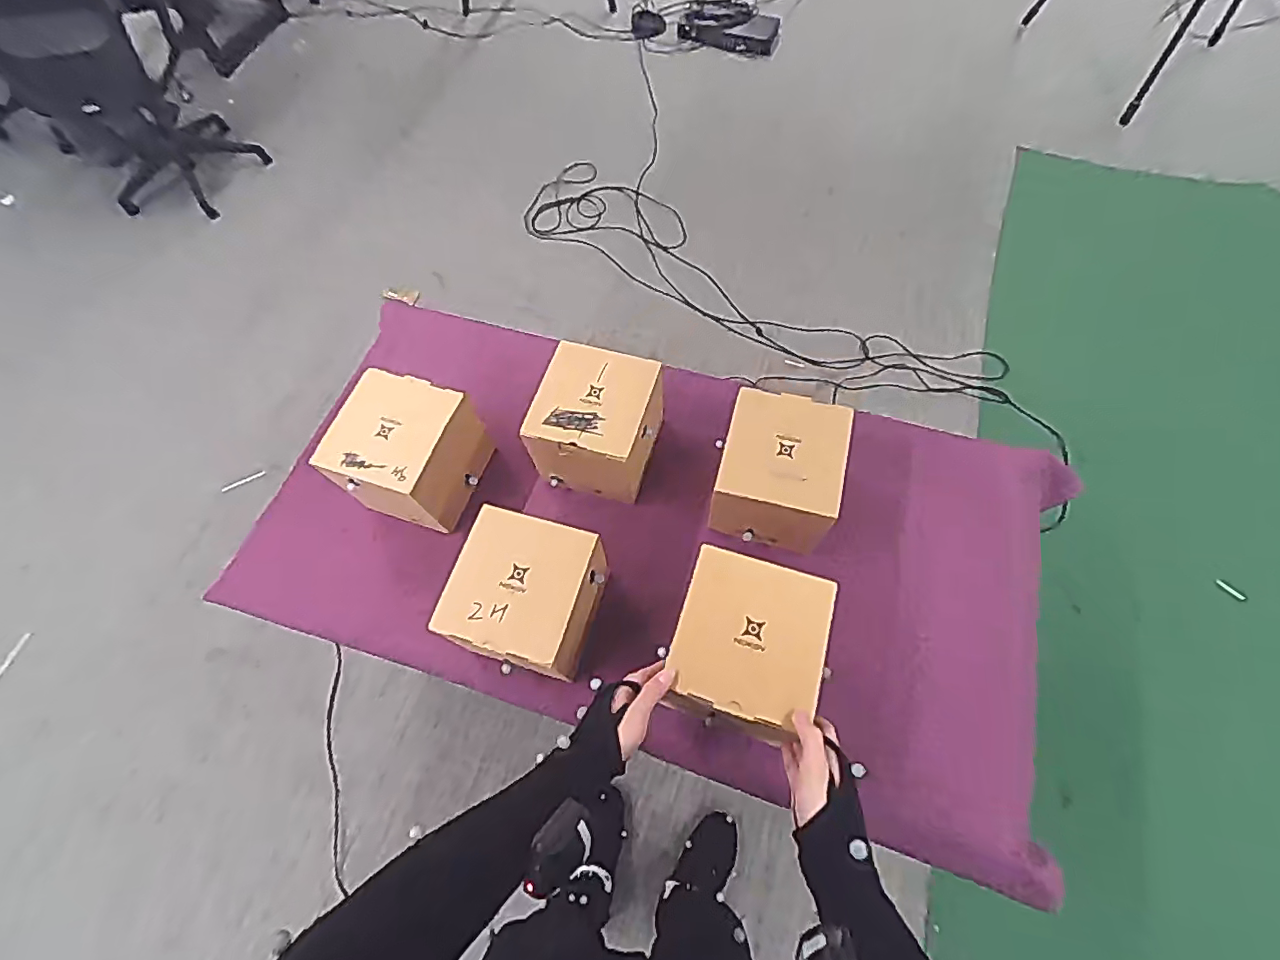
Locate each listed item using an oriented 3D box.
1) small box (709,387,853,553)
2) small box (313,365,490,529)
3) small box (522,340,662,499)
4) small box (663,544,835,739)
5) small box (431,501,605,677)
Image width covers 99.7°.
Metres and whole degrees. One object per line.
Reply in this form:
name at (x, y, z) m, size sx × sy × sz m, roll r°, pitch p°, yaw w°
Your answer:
small box at (0.205, -0.010, 0.821) m, size 0.168 × 0.176 × 0.179 m, roll 14°, pitch 68°, yaw 10°
small box at (-0.357, -0.047, 0.855) m, size 0.168 × 0.176 × 0.179 m, roll 16°, pitch 66°, yaw 11°
small box at (-0.065, -0.089, 0.866) m, size 0.168 × 0.176 × 0.179 m, roll 15°, pitch 66°, yaw 9°
small box at (0.128, 0.209, 0.685) m, size 0.168 × 0.176 × 0.179 m, roll 16°, pitch 64°, yaw 10°
small box at (-0.153, 0.157, 0.753) m, size 0.168 × 0.176 × 0.179 m, roll 15°, pitch 66°, yaw 9°
